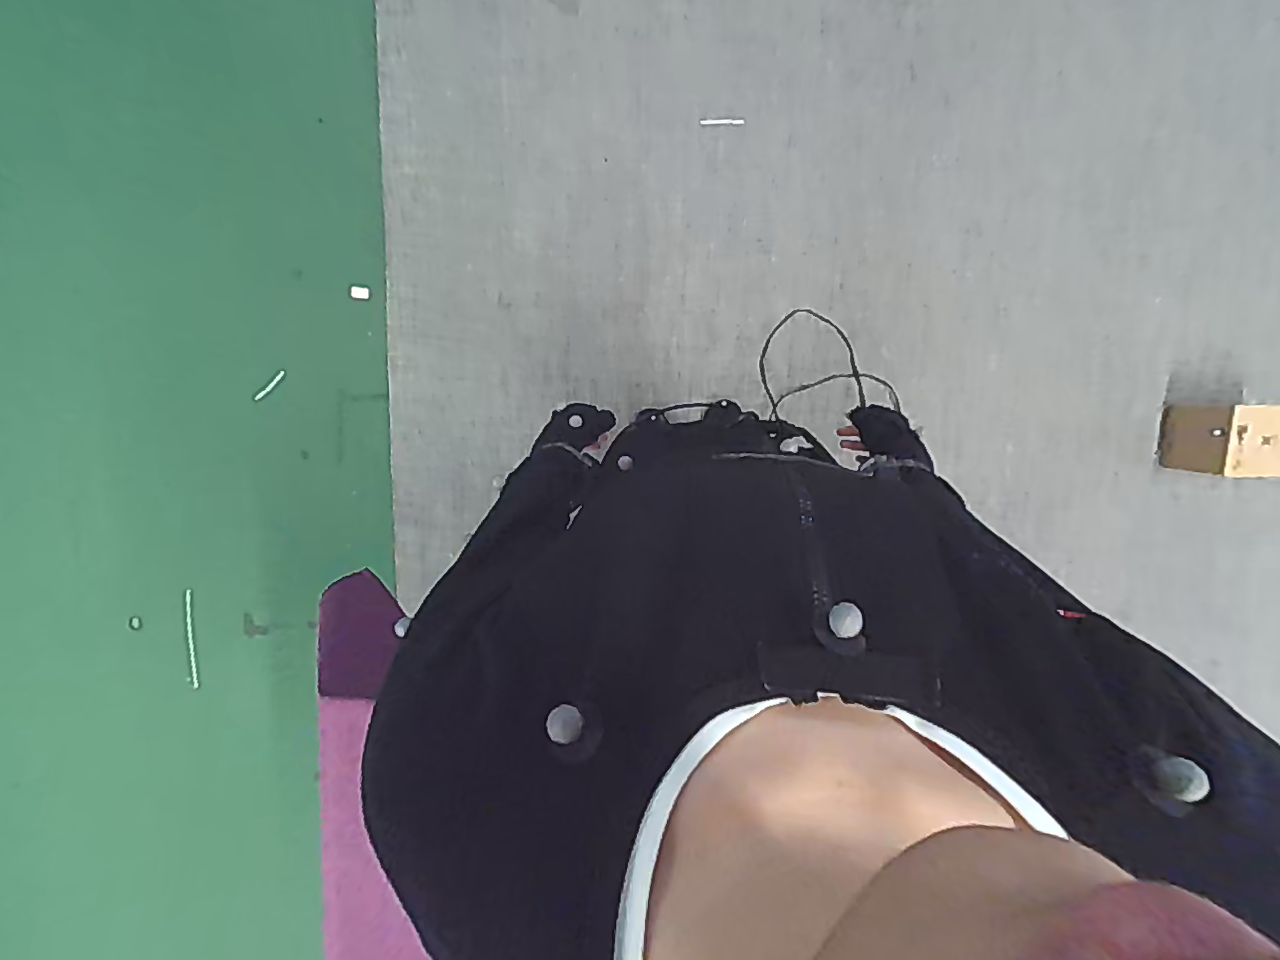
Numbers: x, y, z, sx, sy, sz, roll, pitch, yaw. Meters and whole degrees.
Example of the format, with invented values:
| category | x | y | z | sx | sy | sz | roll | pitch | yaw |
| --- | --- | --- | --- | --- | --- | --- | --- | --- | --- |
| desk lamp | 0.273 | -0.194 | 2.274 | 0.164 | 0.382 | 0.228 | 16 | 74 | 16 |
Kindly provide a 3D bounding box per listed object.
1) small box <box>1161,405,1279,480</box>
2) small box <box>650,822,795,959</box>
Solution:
| category | x | y | z | sx | sy | sz | roll | pitch | yaw |
| --- | --- | --- | --- | --- | --- | --- | --- | --- | --- |
| small box | 1.419 | -0.094 | 1.290 | 0.179 | 0.176 | 0.168 | 2 | 98 | 3 |
| small box | 0.102 | 0.609 | 0.738 | 0.168 | 0.176 | 0.179 | 5 | 99 | 3 |
